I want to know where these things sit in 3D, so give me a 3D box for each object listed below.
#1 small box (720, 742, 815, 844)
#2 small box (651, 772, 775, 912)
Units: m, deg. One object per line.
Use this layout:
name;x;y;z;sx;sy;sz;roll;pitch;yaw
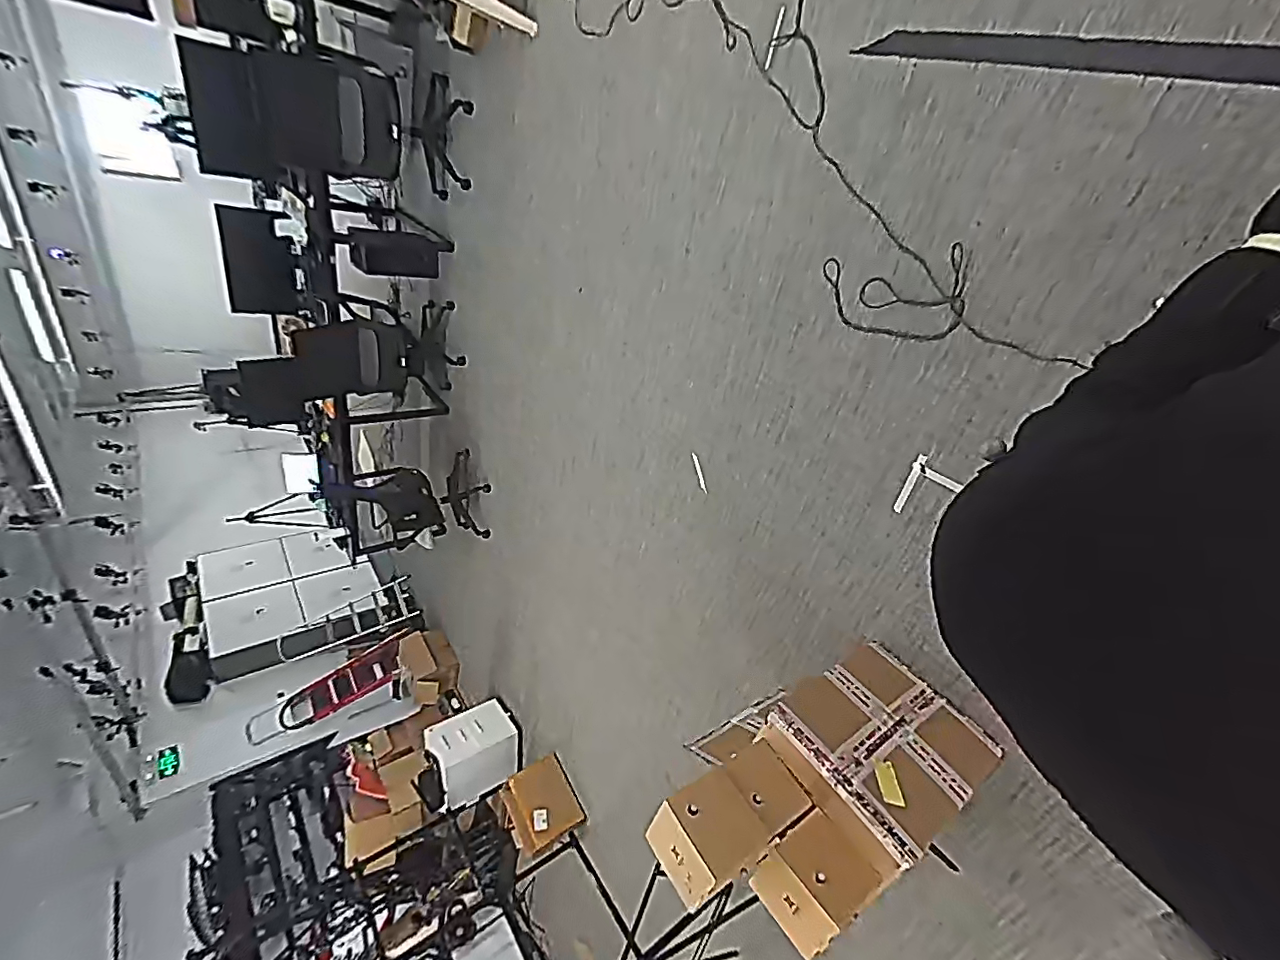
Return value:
small box;0.278;0.764;1.285;0.179;0.176;0.168;50;134;36
small box;0.156;0.770;1.173;0.179;0.176;0.168;46;133;37
